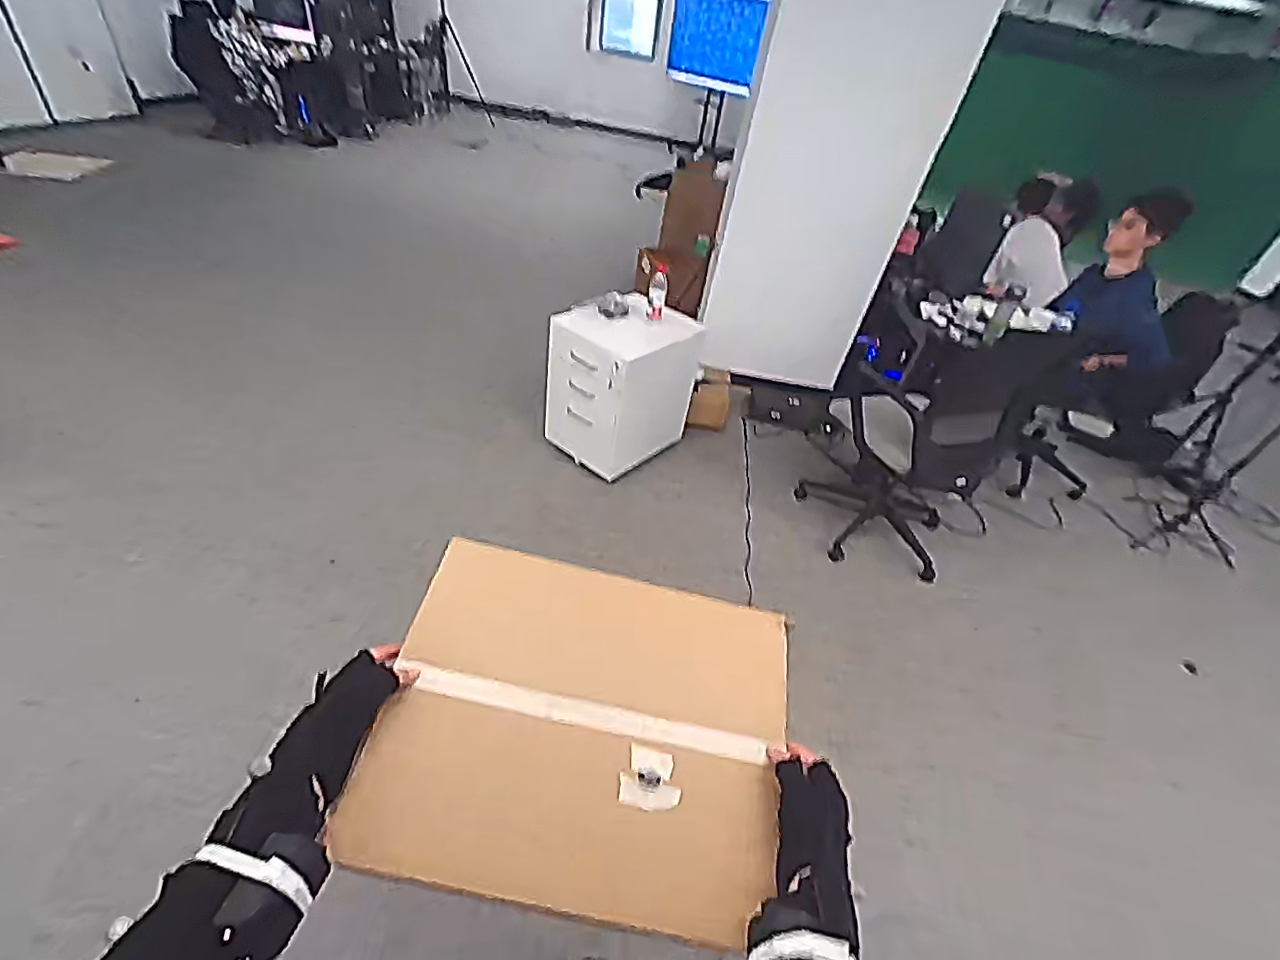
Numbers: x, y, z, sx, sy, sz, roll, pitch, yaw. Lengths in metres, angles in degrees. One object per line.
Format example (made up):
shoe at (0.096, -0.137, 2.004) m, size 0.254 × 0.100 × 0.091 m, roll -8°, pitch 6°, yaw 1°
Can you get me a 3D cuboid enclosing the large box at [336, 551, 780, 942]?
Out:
large box at (-0.074, 0.333, 0.676) m, size 0.408 × 0.320 × 0.320 m, roll 14°, pitch 53°, yaw -2°
